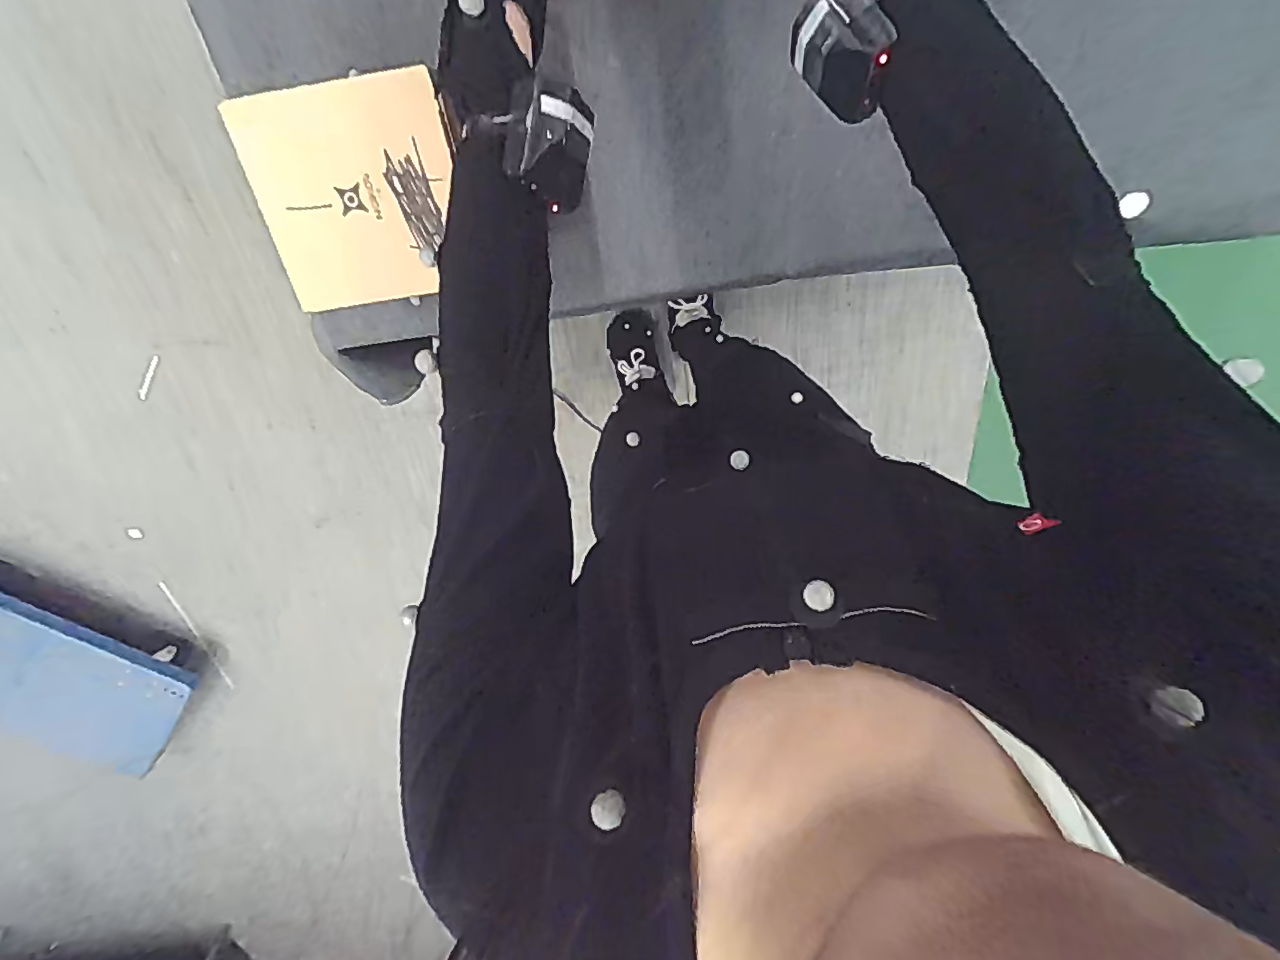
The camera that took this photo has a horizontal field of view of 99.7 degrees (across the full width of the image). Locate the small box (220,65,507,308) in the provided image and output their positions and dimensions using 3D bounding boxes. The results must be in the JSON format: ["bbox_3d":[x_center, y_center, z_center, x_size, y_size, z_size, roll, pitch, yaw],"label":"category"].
[{"bbox_3d":[-0.238,-0.277,0.528,0.179,0.176,0.168,-8,117,2],"label":"small box"}]
